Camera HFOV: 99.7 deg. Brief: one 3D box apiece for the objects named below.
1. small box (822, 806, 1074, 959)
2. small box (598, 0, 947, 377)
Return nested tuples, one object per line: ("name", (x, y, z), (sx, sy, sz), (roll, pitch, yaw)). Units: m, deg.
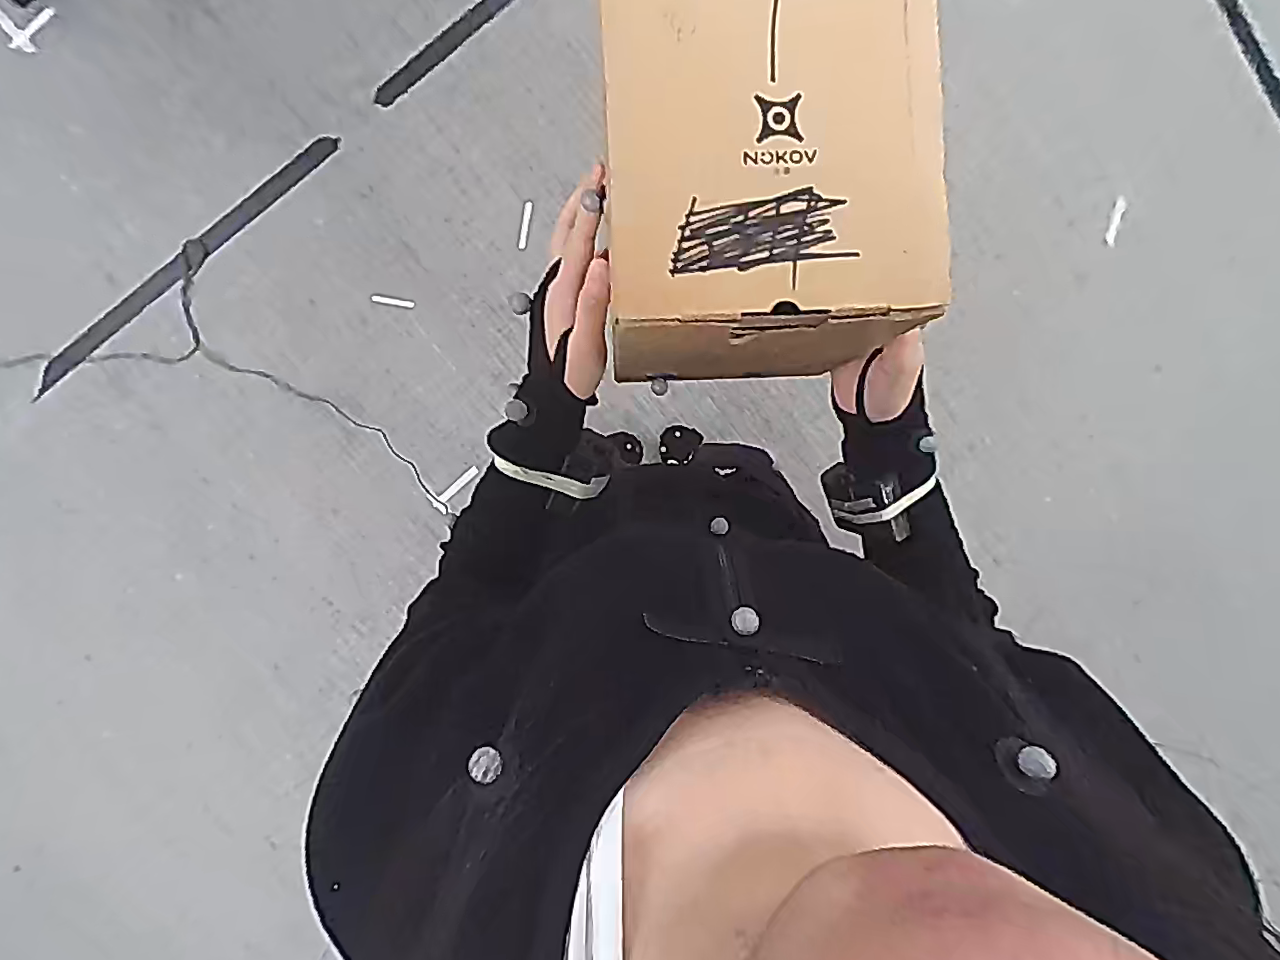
("small box", (0.312, 0.463, 0.529), (0.168, 0.176, 0.179), (-40, 96, 3))
("small box", (0.063, -0.165, 0.343), (0.168, 0.176, 0.179), (-4, 90, -3))
